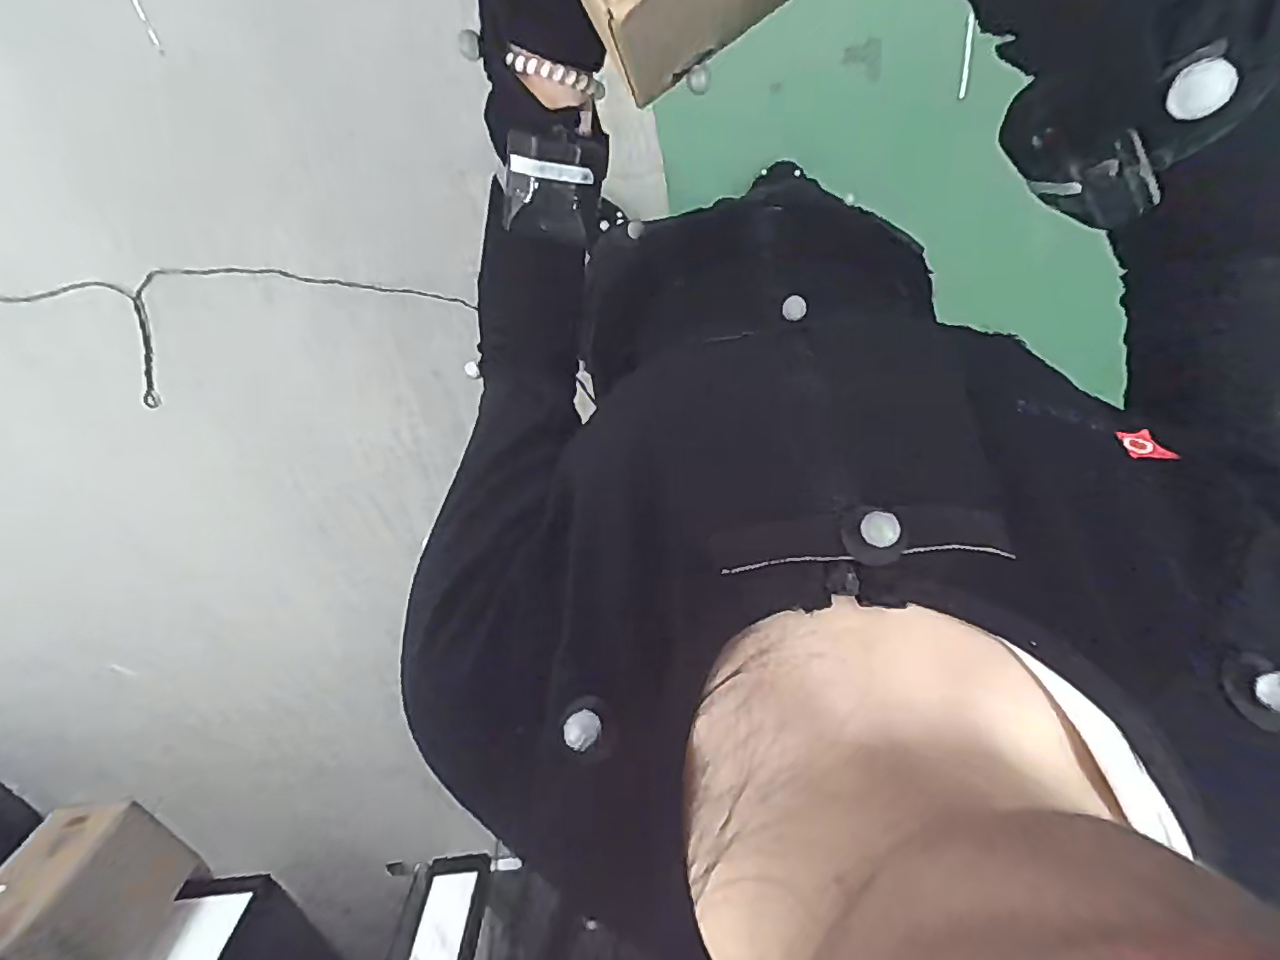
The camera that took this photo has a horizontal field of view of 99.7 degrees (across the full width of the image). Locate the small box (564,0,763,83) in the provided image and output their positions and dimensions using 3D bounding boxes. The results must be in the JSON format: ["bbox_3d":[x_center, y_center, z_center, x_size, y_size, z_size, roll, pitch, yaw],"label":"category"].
[{"bbox_3d":[0.013,-0.273,0.180,0.168,0.176,0.179,-29,111,17],"label":"small box"}]
